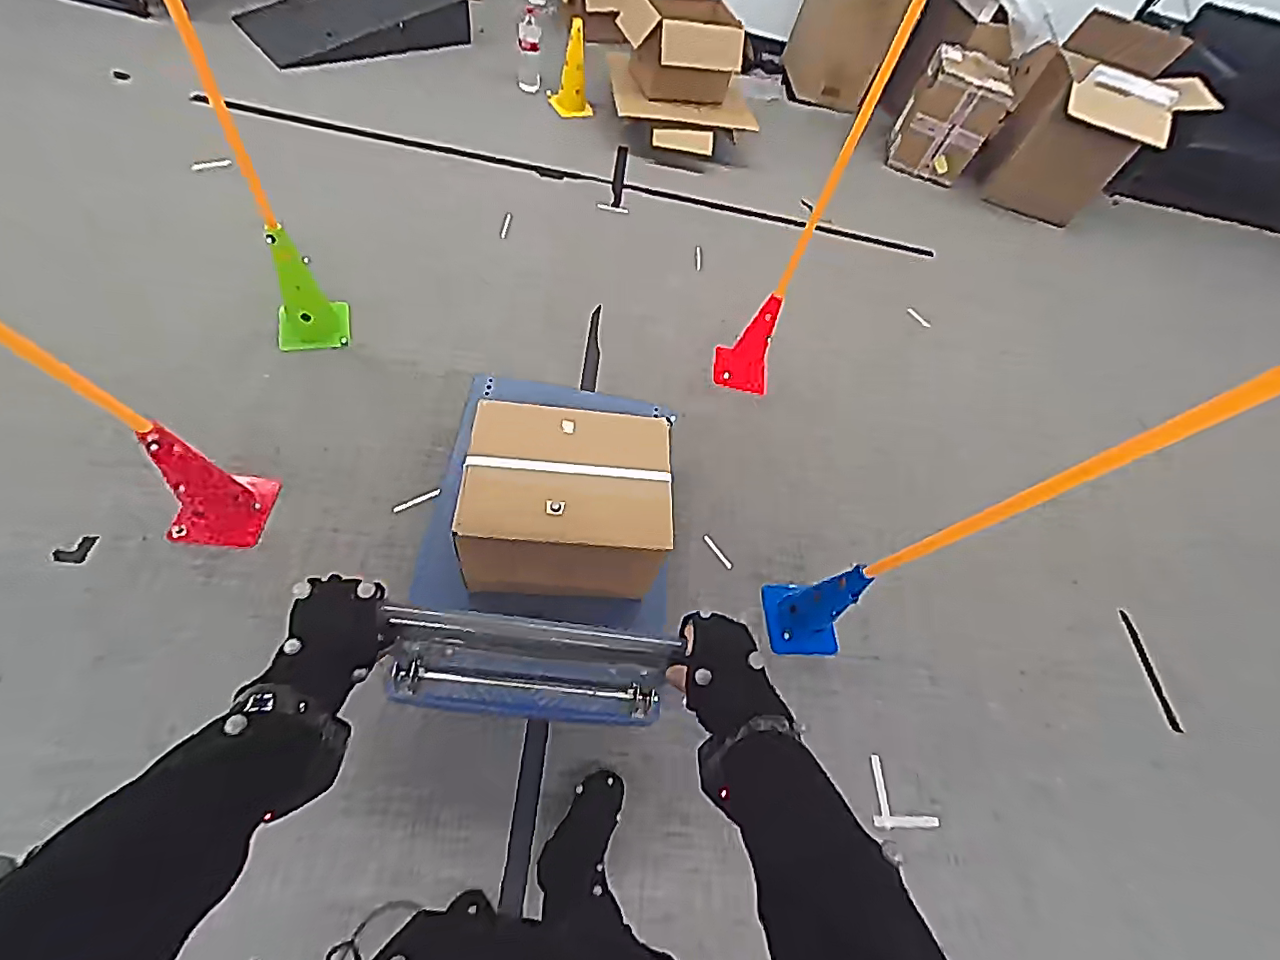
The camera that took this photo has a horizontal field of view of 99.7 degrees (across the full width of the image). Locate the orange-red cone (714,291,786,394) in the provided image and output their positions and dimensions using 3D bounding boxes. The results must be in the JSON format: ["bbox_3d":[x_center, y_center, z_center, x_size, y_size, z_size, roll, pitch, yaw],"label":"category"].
[{"bbox_3d":[0.410,-0.494,1.849,0.199,0.360,0.198,14,58,-5],"label":"orange-red cone"}]

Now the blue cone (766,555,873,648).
[{"bbox_3d":[0.492,0.296,1.403,0.193,0.380,0.192,5,57,-10],"label":"blue cone"}]
